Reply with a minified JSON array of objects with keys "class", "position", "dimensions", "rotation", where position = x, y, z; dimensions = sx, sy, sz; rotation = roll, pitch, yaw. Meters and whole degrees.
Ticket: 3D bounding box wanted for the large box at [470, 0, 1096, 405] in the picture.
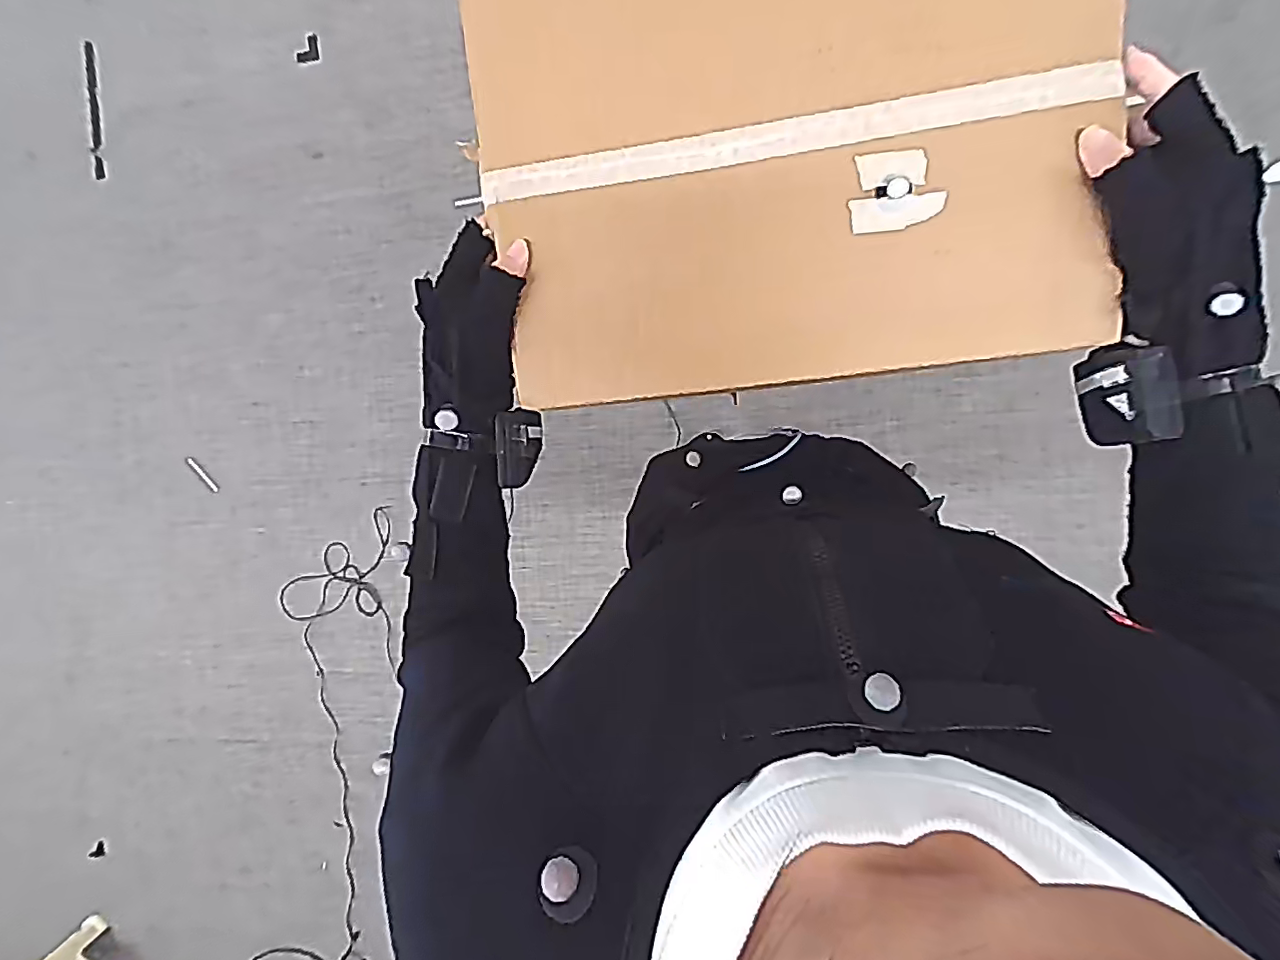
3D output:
[{"class":"large box","position":[0.107,-0.252,0.515],"dimensions":[0.408,0.320,0.320],"rotation":[-6,99,7]}]
